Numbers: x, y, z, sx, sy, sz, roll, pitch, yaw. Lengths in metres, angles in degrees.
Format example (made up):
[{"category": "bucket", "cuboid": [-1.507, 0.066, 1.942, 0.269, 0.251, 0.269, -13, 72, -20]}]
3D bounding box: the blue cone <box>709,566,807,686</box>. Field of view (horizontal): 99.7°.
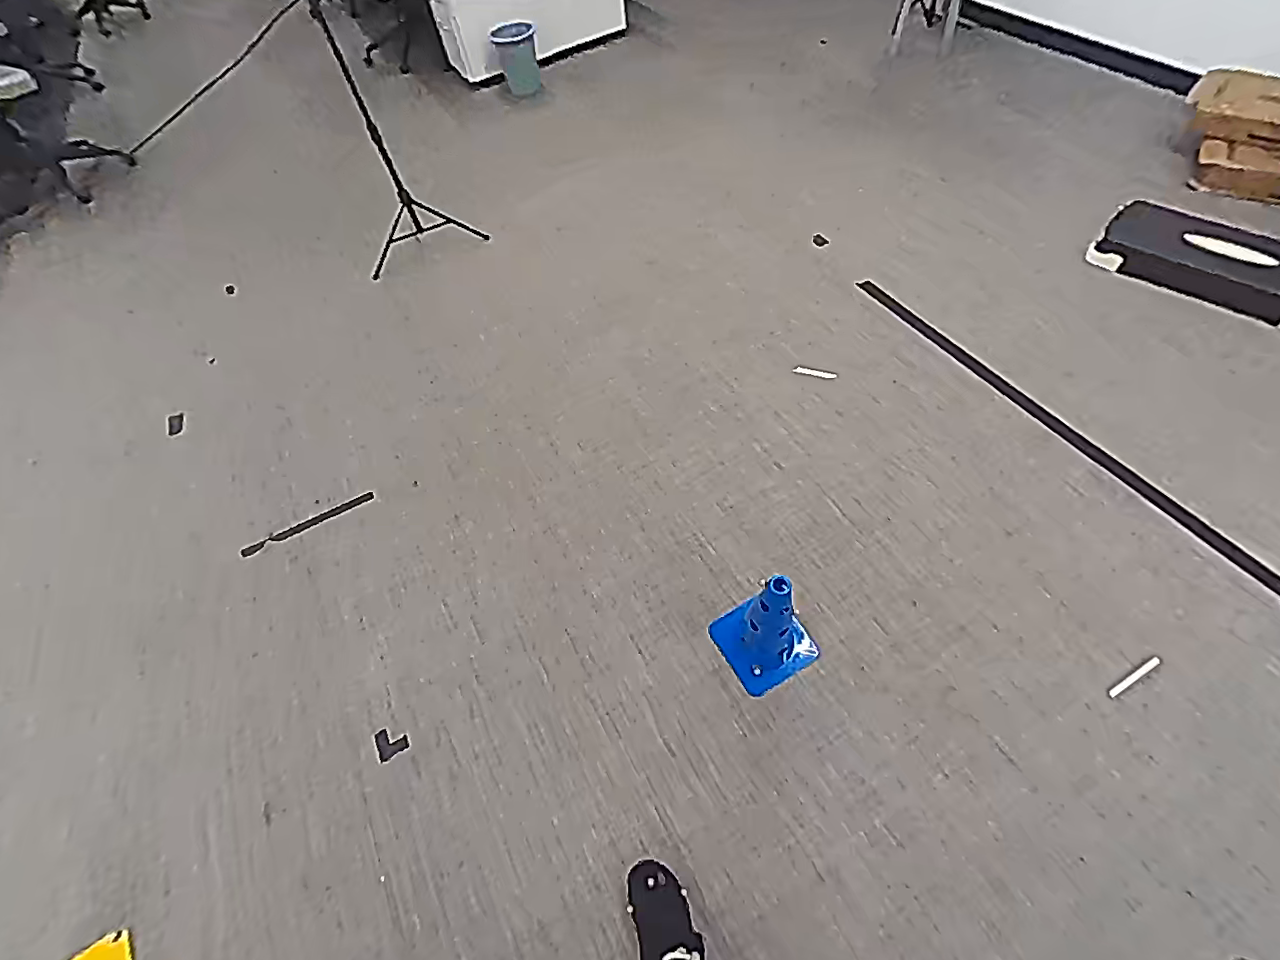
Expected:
[{"category": "blue cone", "cuboid": [0.264, 0.286, 1.160, 0.193, 0.380, 0.192, -27, 57, -11]}]
